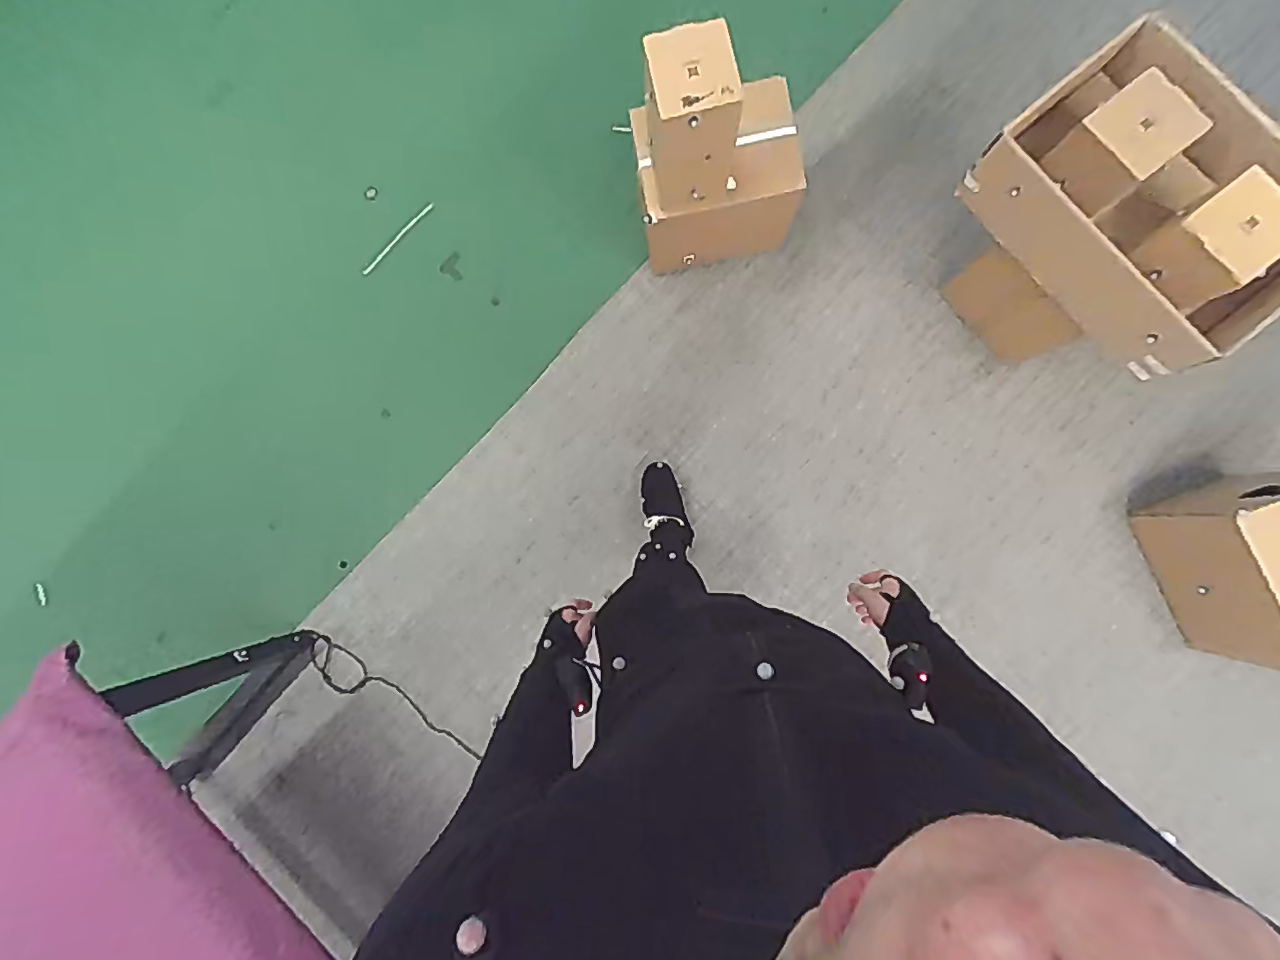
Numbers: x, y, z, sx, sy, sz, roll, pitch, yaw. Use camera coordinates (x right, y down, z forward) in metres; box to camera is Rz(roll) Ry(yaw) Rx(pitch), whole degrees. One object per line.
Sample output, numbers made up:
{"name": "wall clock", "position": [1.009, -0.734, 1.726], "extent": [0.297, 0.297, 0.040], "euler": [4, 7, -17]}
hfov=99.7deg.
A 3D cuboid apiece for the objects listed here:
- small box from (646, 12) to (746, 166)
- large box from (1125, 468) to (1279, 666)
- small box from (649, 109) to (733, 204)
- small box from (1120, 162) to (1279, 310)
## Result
{"name": "small box", "position": [0.107, -0.790, 1.107], "extent": [0.168, 0.176, 0.179], "euler": [-12, 86, 2]}
{"name": "large box", "position": [1.580, 0.208, 1.369], "extent": [0.320, 0.320, 0.408], "euler": [-23, 84, 1]}
{"name": "small box", "position": [0.113, -0.790, 1.271], "extent": [0.168, 0.176, 0.179], "euler": [-11, 87, 2]}
{"name": "small box", "position": [1.145, -0.479, 1.088], "extent": [0.179, 0.176, 0.168], "euler": [-39, 85, 1]}
